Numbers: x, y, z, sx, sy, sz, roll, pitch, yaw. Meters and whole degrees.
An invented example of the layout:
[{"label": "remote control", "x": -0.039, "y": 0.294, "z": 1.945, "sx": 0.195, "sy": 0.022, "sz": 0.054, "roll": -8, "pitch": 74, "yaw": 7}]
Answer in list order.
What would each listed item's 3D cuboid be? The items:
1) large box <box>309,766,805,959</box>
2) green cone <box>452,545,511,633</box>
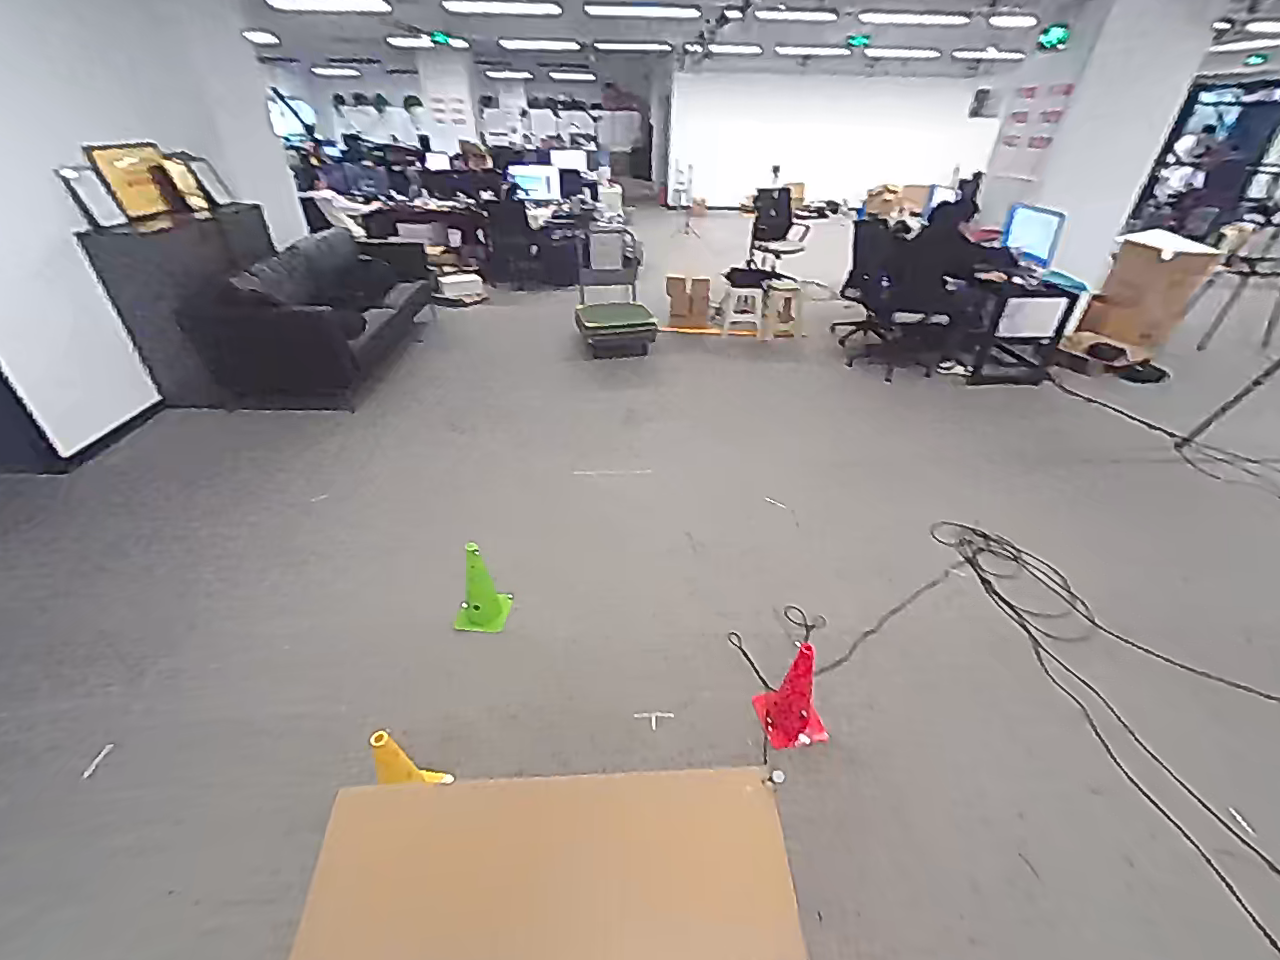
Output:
[{"label": "large box", "x": -0.075, "y": 0.500, "z": 0.529, "sx": 0.408, "sy": 0.320, "sz": 0.320, "roll": 1, "pitch": 49, "yaw": -7}, {"label": "green cone", "x": -0.643, "y": 0.398, "z": 2.109, "sx": 0.200, "sy": 0.368, "sz": 0.202, "roll": 3, "pitch": 35, "yaw": 3}]
